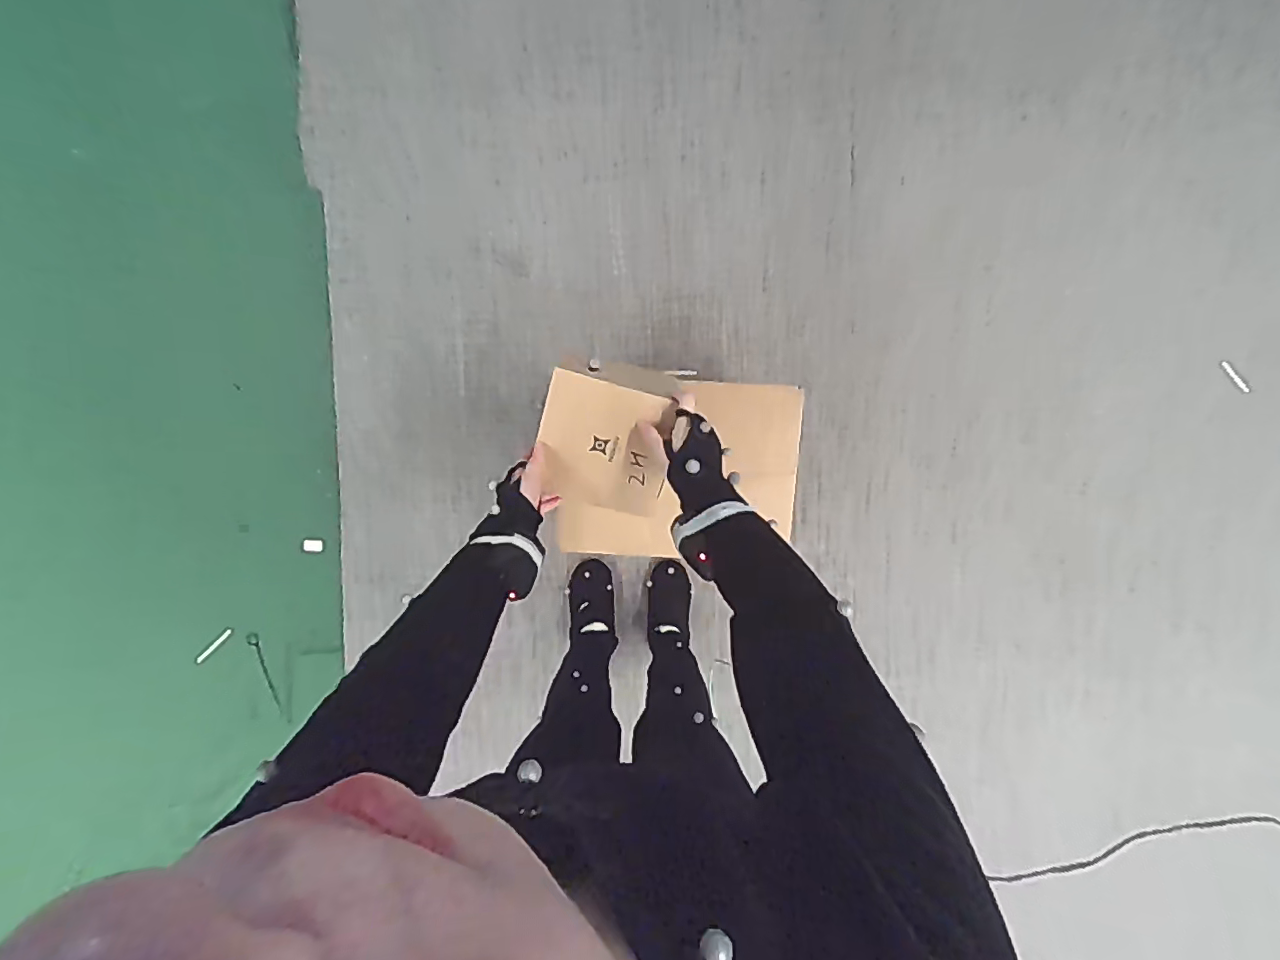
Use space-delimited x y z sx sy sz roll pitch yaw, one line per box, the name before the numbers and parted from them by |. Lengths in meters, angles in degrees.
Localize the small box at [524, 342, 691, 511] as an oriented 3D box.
small box | -0.047 -0.083 0.754 0.179 0.176 0.168 15 113 -10
